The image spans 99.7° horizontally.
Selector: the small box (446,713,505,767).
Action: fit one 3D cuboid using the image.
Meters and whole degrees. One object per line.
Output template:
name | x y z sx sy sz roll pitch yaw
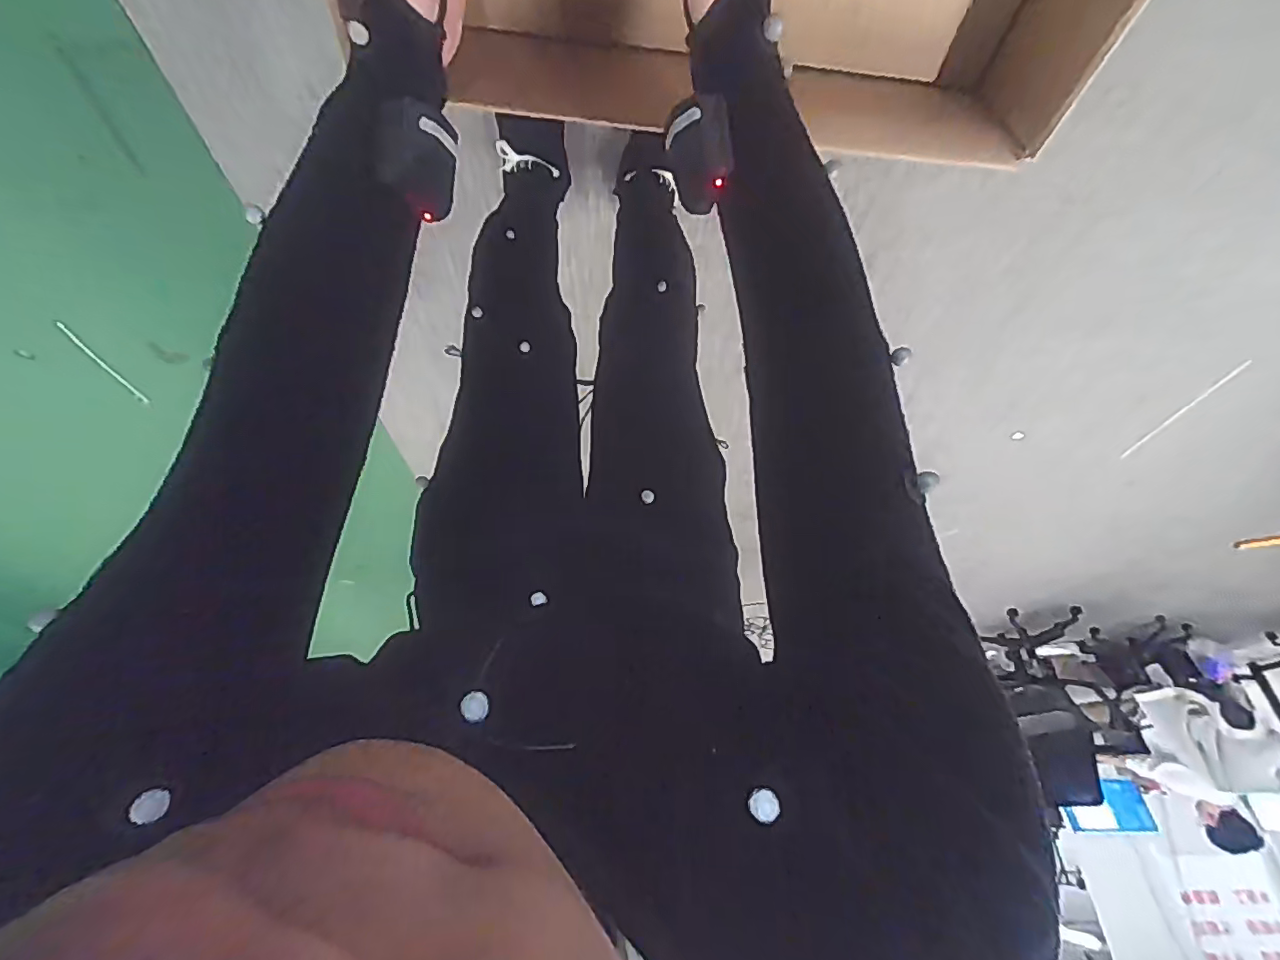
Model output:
small box | -0.620 0.993 2.060 0.168 0.176 0.179 -2 148 -1
